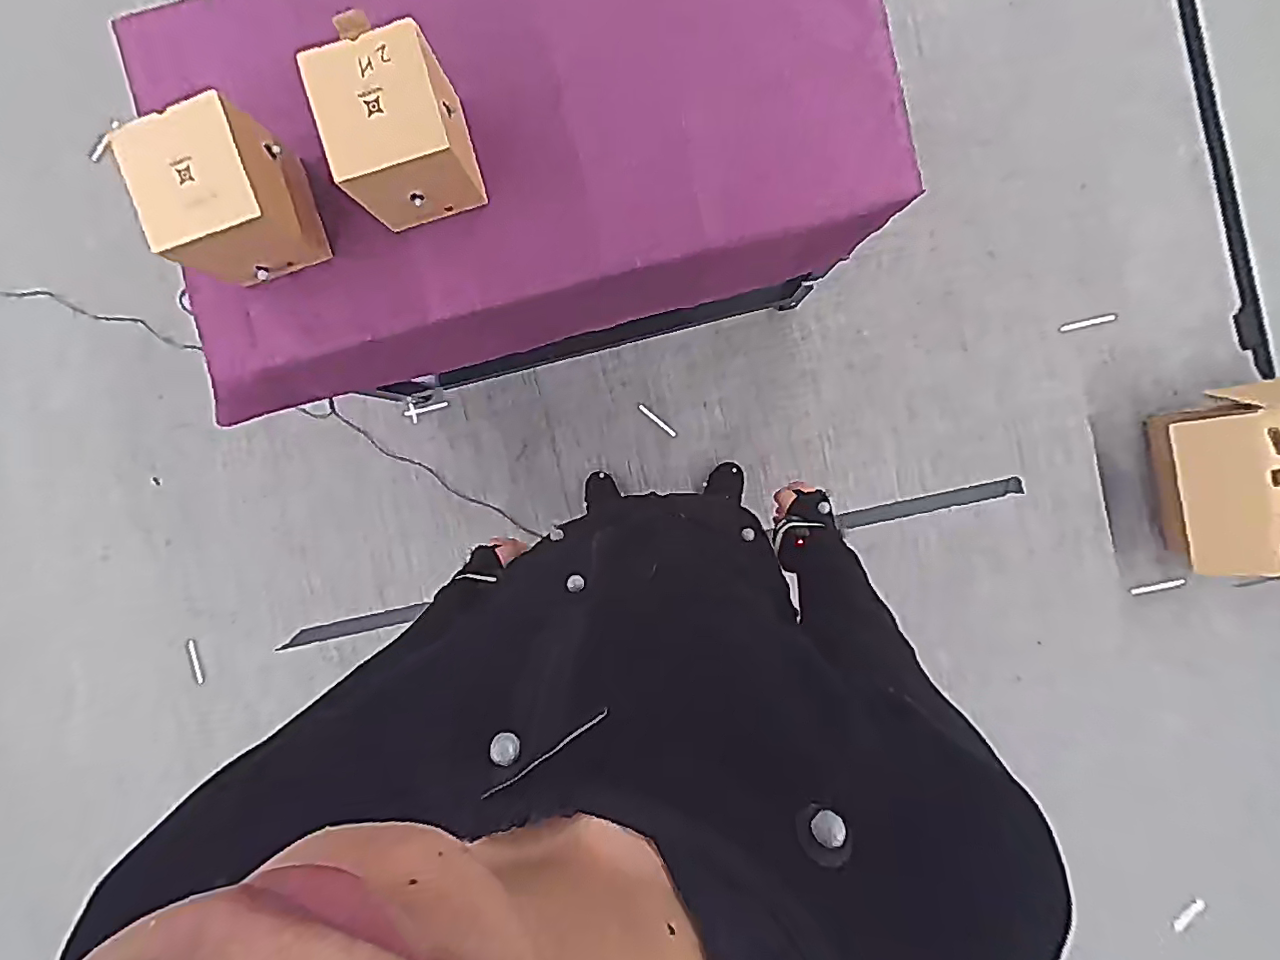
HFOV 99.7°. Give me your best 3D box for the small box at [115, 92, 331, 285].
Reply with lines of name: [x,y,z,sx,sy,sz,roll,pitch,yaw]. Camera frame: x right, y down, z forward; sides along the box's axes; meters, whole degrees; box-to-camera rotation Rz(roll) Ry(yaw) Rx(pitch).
small box: [-0.609,-0.422,0.813,0.168,0.176,0.179,-18,92,3]

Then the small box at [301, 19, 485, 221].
small box: [-0.349,-0.510,0.799,0.168,0.176,0.179,-16,92,2]
